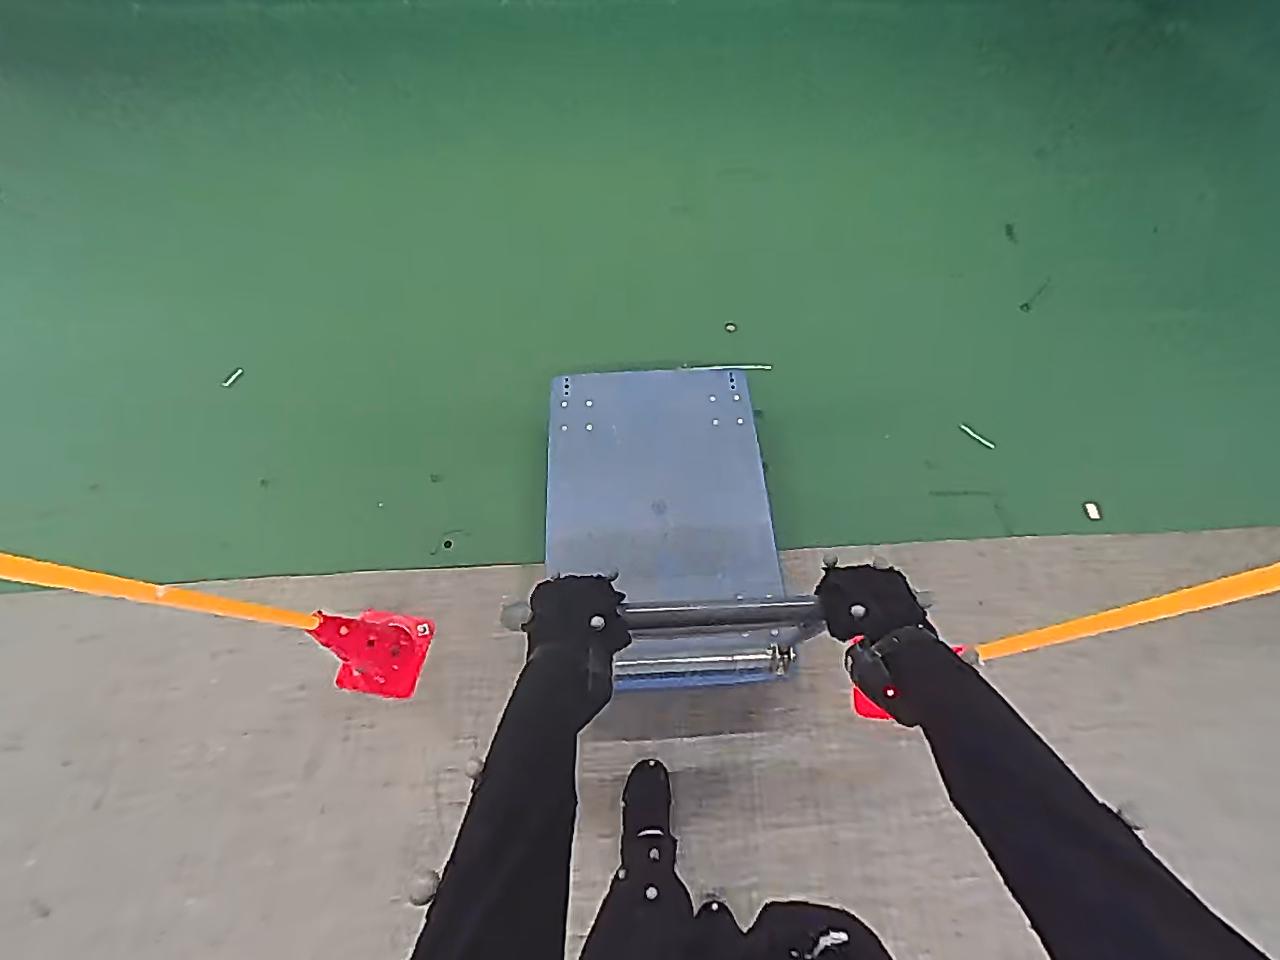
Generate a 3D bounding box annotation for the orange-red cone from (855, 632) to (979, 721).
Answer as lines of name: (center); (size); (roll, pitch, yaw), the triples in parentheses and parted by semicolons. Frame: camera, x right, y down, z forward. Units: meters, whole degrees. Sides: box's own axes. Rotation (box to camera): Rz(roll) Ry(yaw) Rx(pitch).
orange-red cone: (0.647, 0.418, 1.215); (0.198, 0.360, 0.199); (7, 64, 3)
